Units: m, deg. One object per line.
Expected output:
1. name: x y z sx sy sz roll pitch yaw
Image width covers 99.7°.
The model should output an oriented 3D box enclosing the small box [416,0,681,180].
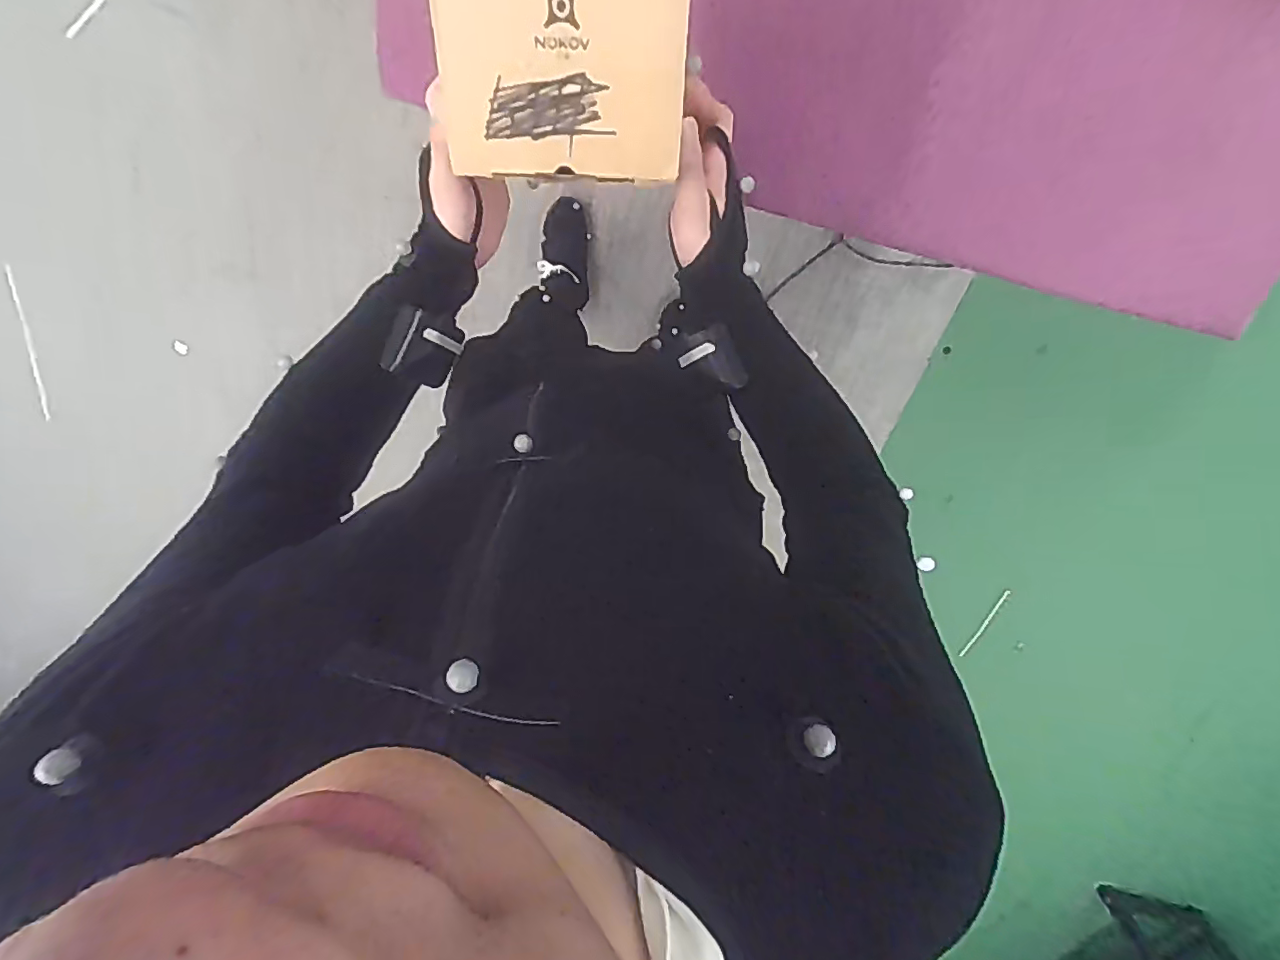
1. small box: -0.054 -0.331 0.404 0.168 0.176 0.179 3 120 0
